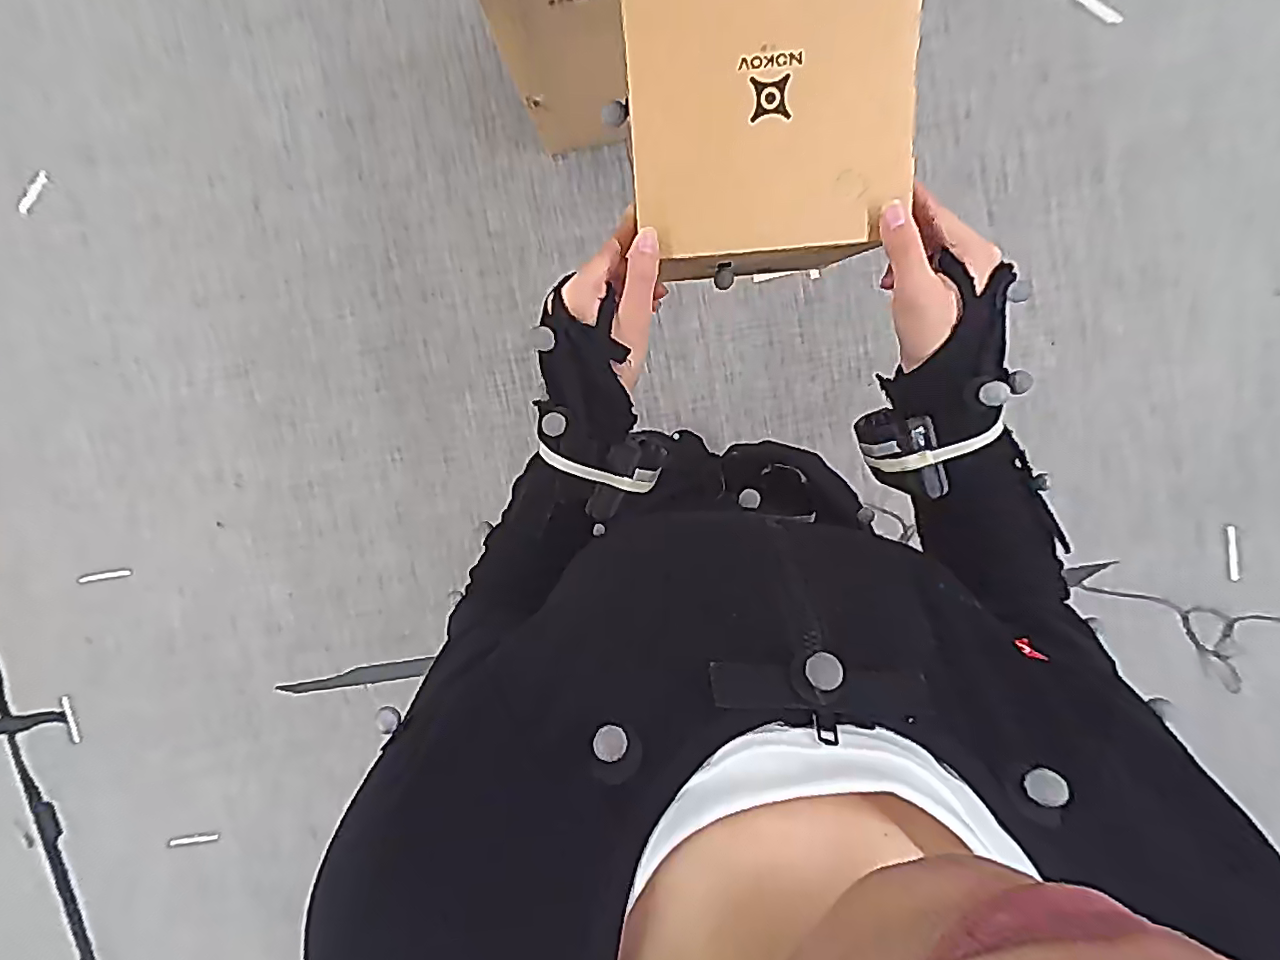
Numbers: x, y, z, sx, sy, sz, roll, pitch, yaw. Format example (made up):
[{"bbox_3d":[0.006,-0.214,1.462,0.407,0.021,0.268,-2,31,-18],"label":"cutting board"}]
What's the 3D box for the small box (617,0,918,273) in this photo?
[{"bbox_3d":[0.076,-0.249,0.384,0.168,0.176,0.179,-4,104,4],"label":"small box"}]
